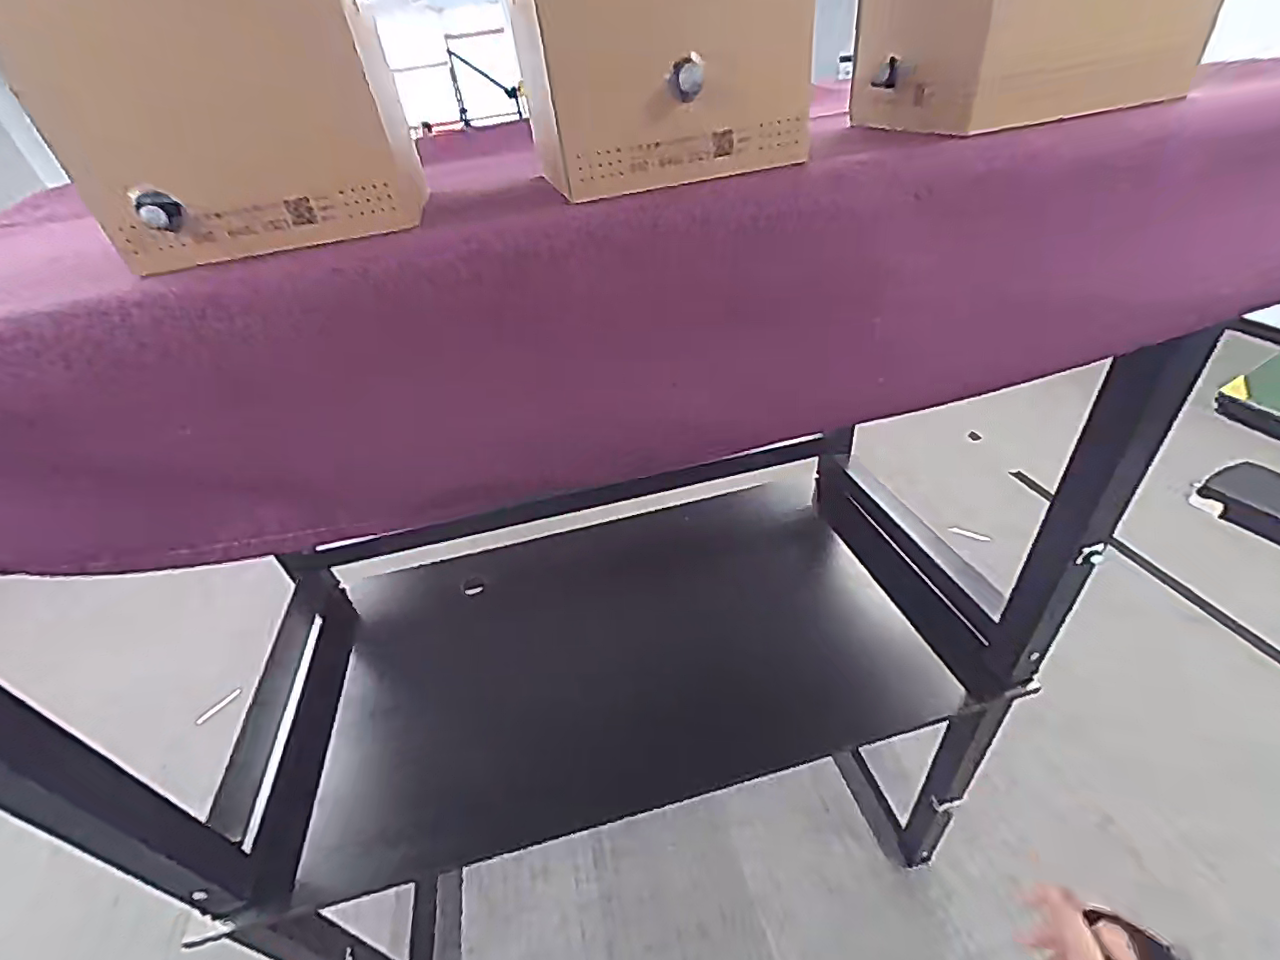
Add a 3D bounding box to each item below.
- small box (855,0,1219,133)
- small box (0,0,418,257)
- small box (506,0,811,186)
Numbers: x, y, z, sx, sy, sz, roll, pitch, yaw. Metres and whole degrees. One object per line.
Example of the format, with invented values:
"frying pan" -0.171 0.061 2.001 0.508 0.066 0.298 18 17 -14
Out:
"small box" 0.276 -0.362 0.382 0.179 0.176 0.168 -13 36 -4
"small box" -0.252 -0.249 0.337 0.168 0.176 0.179 -14 36 -8
"small box" 0.000 -0.307 0.363 0.168 0.176 0.179 -15 37 -7
